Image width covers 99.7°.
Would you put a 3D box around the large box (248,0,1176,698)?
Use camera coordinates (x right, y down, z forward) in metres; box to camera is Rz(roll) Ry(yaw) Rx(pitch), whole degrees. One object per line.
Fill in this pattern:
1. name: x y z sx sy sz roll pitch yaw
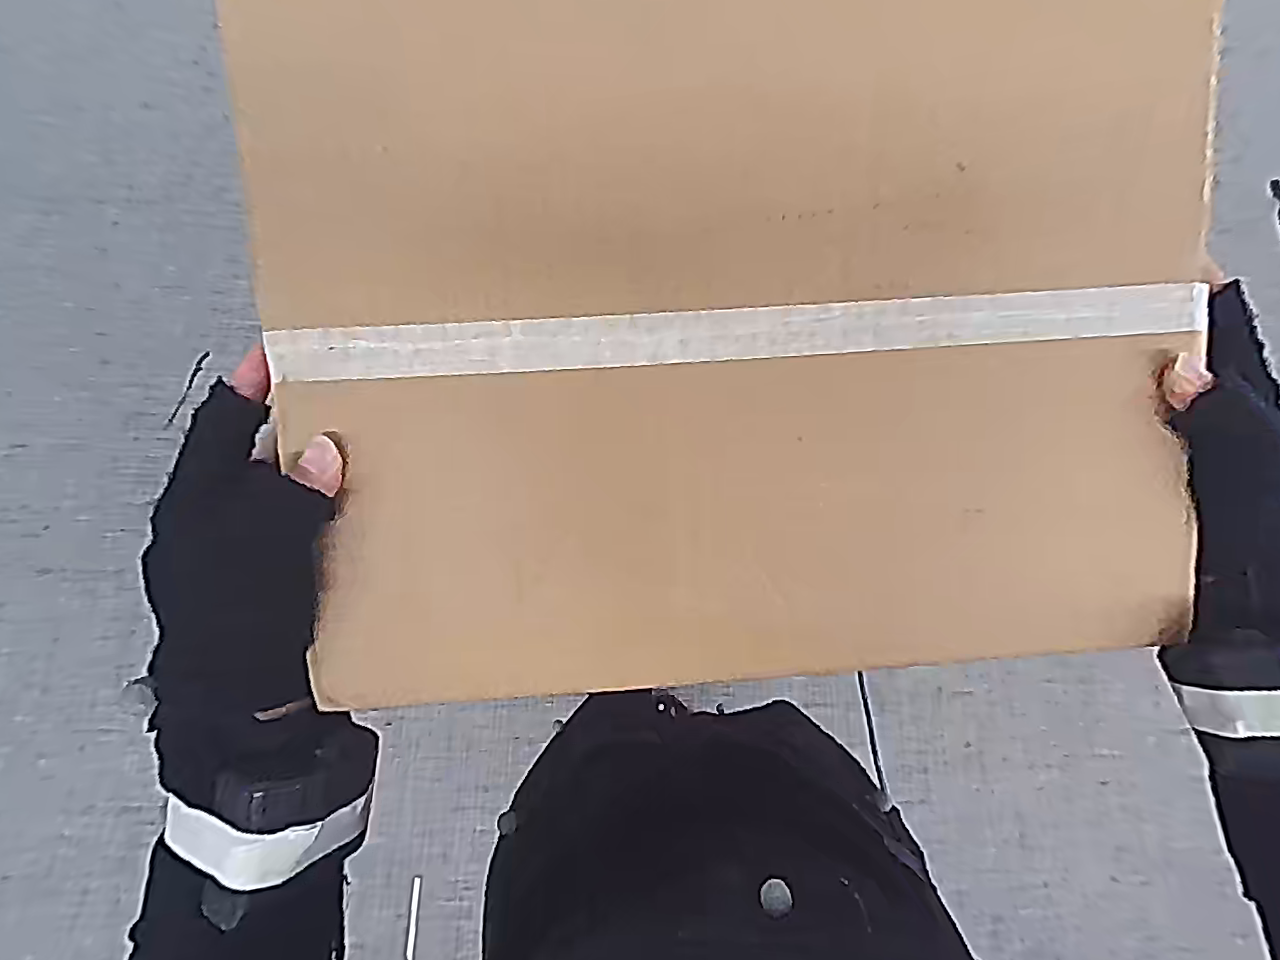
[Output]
1. large box: 0.039 -0.080 0.393 0.408 0.320 0.320 -3 96 -3
